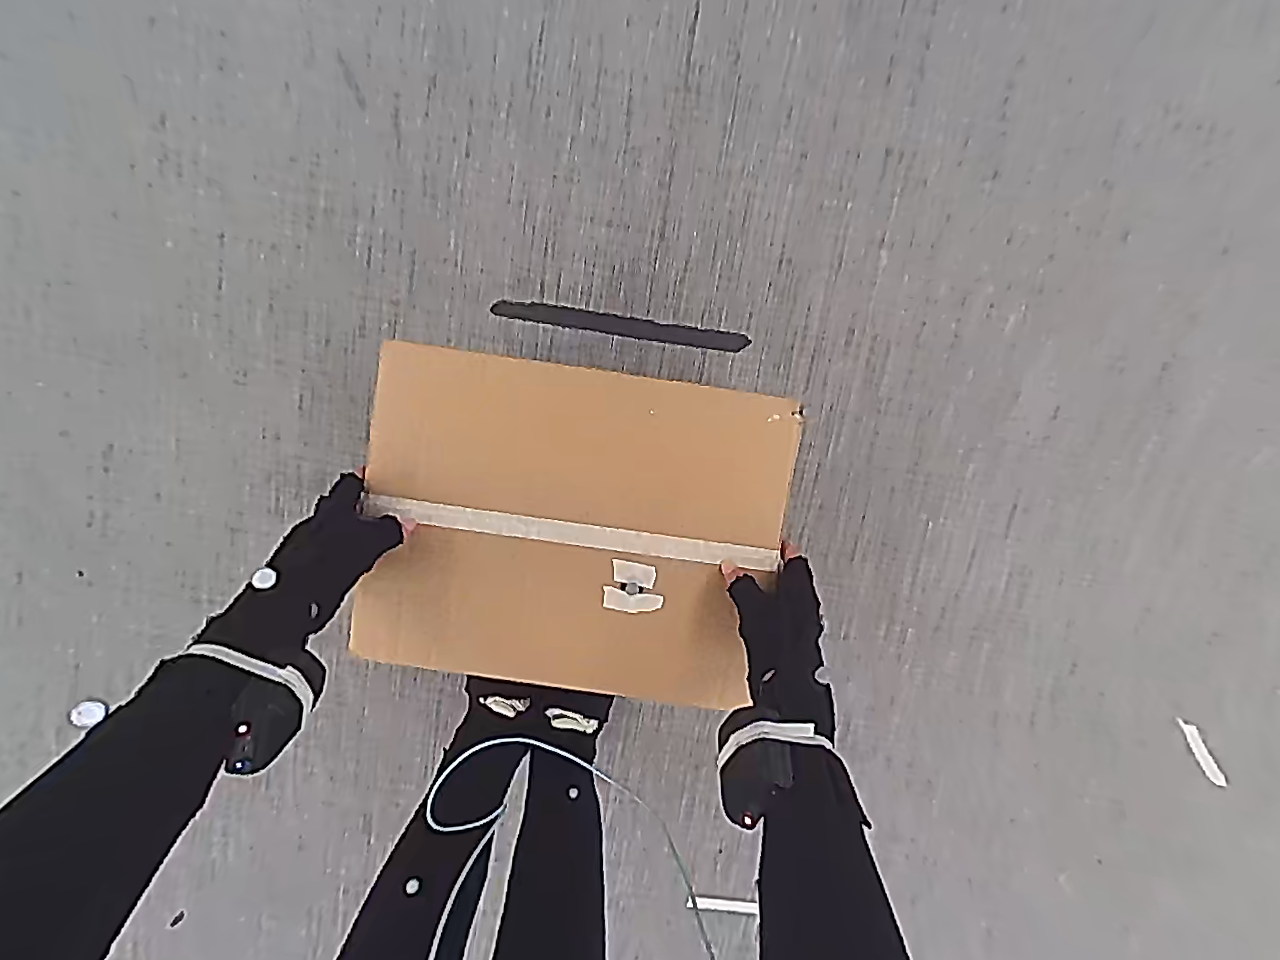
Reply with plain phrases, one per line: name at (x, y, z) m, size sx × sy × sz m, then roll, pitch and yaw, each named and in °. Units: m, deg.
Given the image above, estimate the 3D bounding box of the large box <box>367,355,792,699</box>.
large box at (-0.067, 0.042, 0.691) m, size 0.408 × 0.320 × 0.320 m, roll 8°, pitch 95°, yaw -1°
